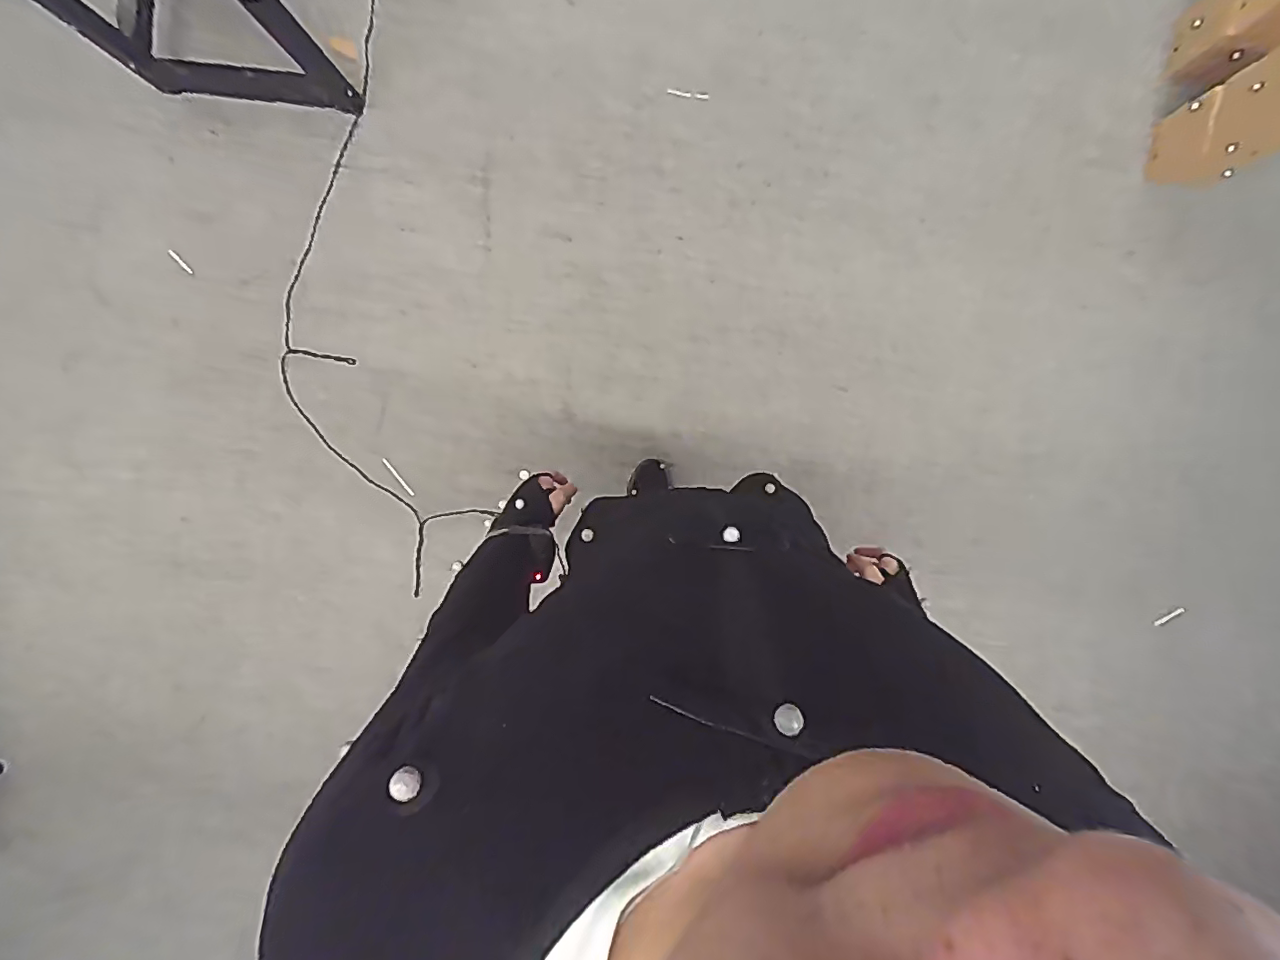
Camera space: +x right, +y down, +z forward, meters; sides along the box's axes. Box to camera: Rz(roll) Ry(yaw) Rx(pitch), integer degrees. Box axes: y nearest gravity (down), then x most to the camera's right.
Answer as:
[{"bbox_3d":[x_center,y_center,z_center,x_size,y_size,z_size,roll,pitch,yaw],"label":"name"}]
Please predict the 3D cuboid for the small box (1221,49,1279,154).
[{"bbox_3d":[1.564,-0.917,1.288,0.168,0.176,0.179,11,94,-1],"label":"small box"}]

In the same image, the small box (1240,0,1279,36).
[{"bbox_3d":[1.589,-1.186,1.267,0.179,0.176,0.168,8,95,0],"label":"small box"}]

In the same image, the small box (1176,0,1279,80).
[{"bbox_3d":[1.591,-1.202,1.428,0.179,0.176,0.168,11,95,0],"label":"small box"}]
